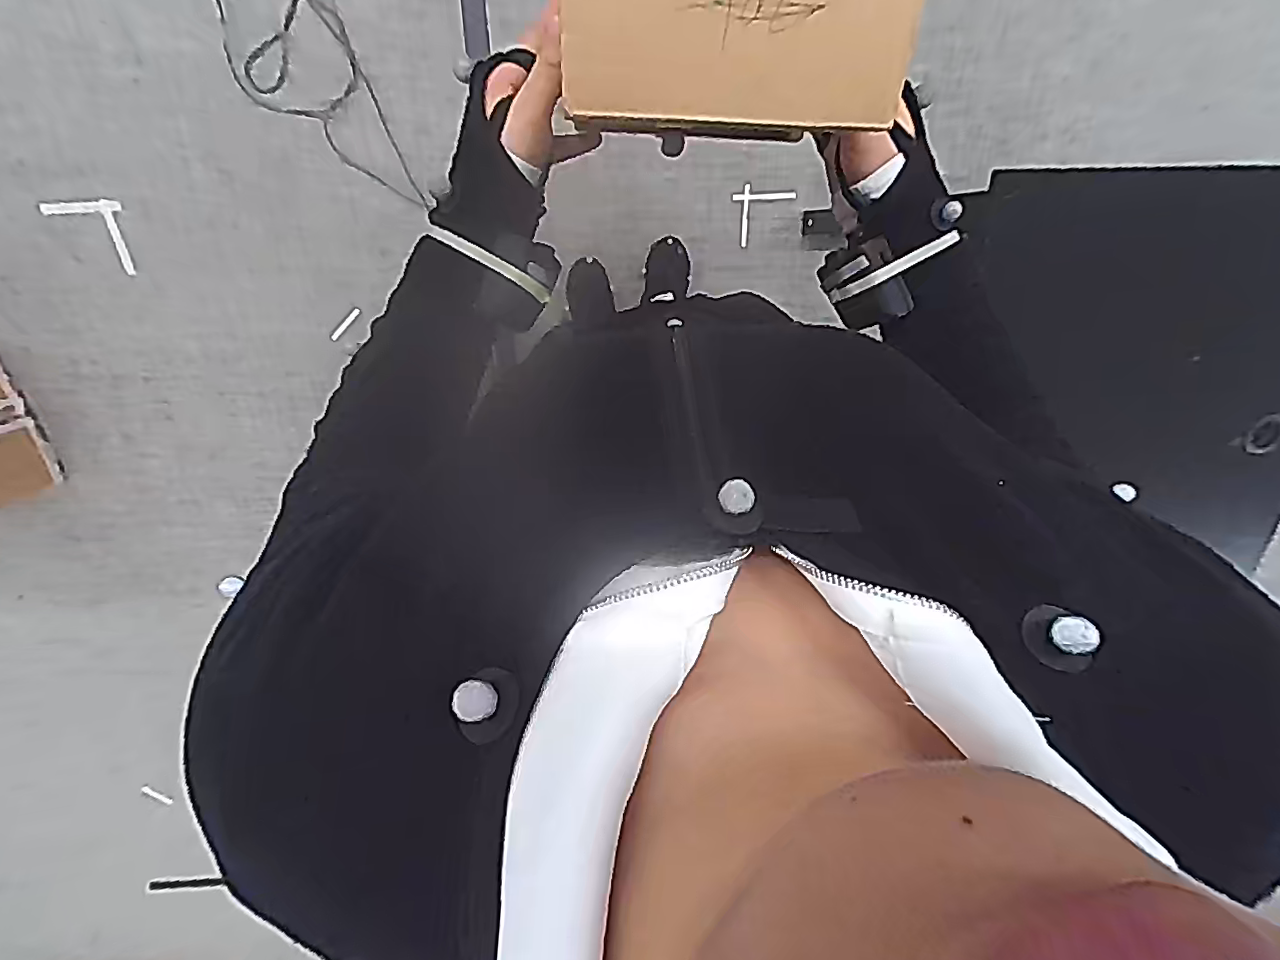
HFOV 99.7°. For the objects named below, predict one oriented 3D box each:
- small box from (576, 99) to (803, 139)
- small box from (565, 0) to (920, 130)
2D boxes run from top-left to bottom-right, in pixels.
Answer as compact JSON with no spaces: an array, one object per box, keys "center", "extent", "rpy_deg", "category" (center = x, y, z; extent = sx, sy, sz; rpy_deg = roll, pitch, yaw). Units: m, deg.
[{"center":[0.037,-0.376,0.432],"extent":[0.179,0.176,0.168],"rpy_deg":[0,122,-5],"category":"small box"},{"center":[0.043,-0.297,0.289],"extent":[0.168,0.176,0.179],"rpy_deg":[0,123,-4],"category":"small box"}]
